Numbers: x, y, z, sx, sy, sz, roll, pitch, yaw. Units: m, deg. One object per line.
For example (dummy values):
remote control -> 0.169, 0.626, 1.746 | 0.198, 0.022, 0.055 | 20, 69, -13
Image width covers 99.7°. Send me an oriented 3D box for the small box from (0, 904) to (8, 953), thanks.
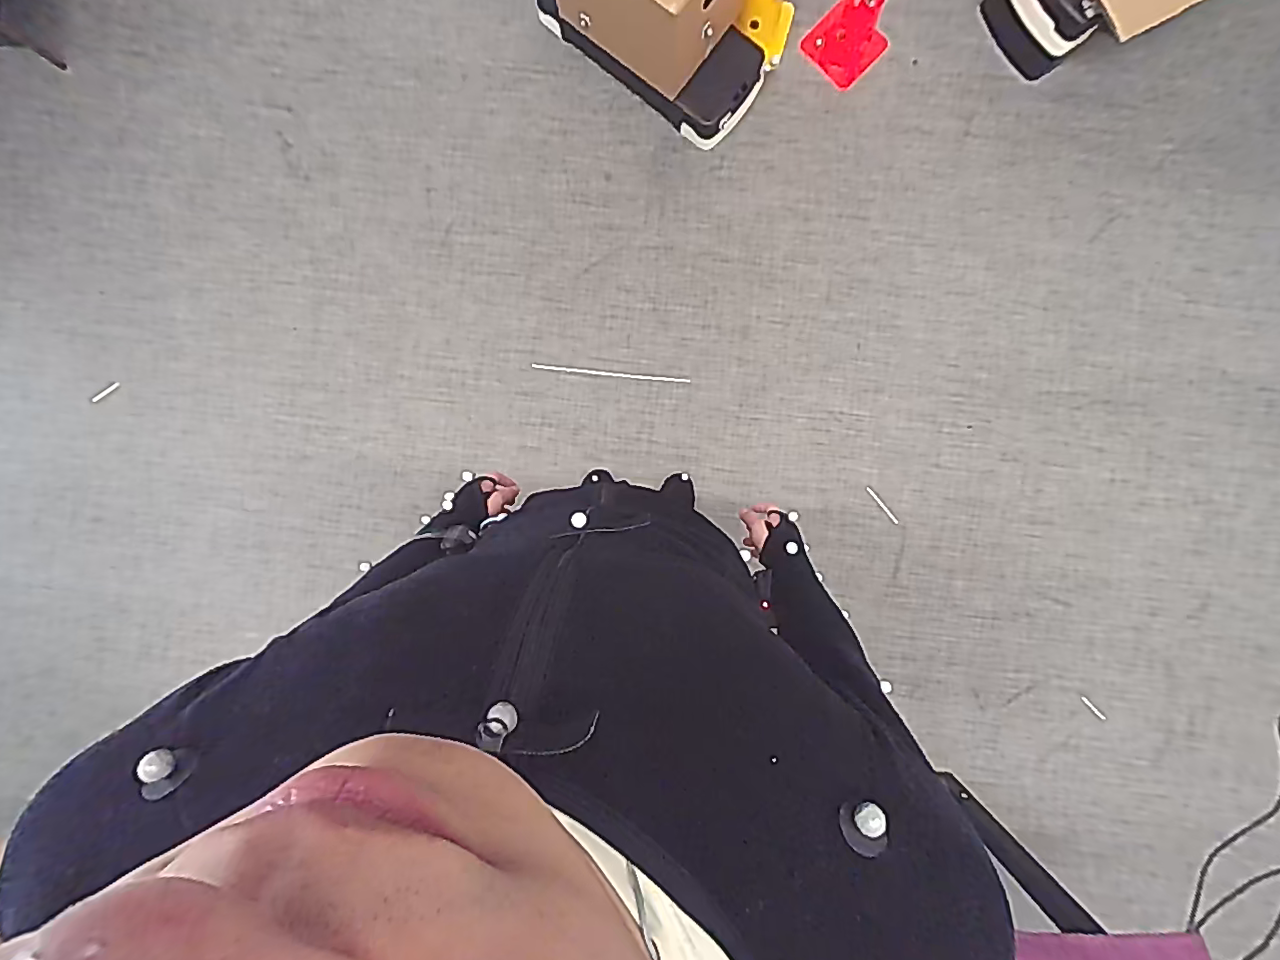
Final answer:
small box -> -1.585, 1.066, 1.192 | 0.179, 0.176, 0.168 | 8, 90, 0
